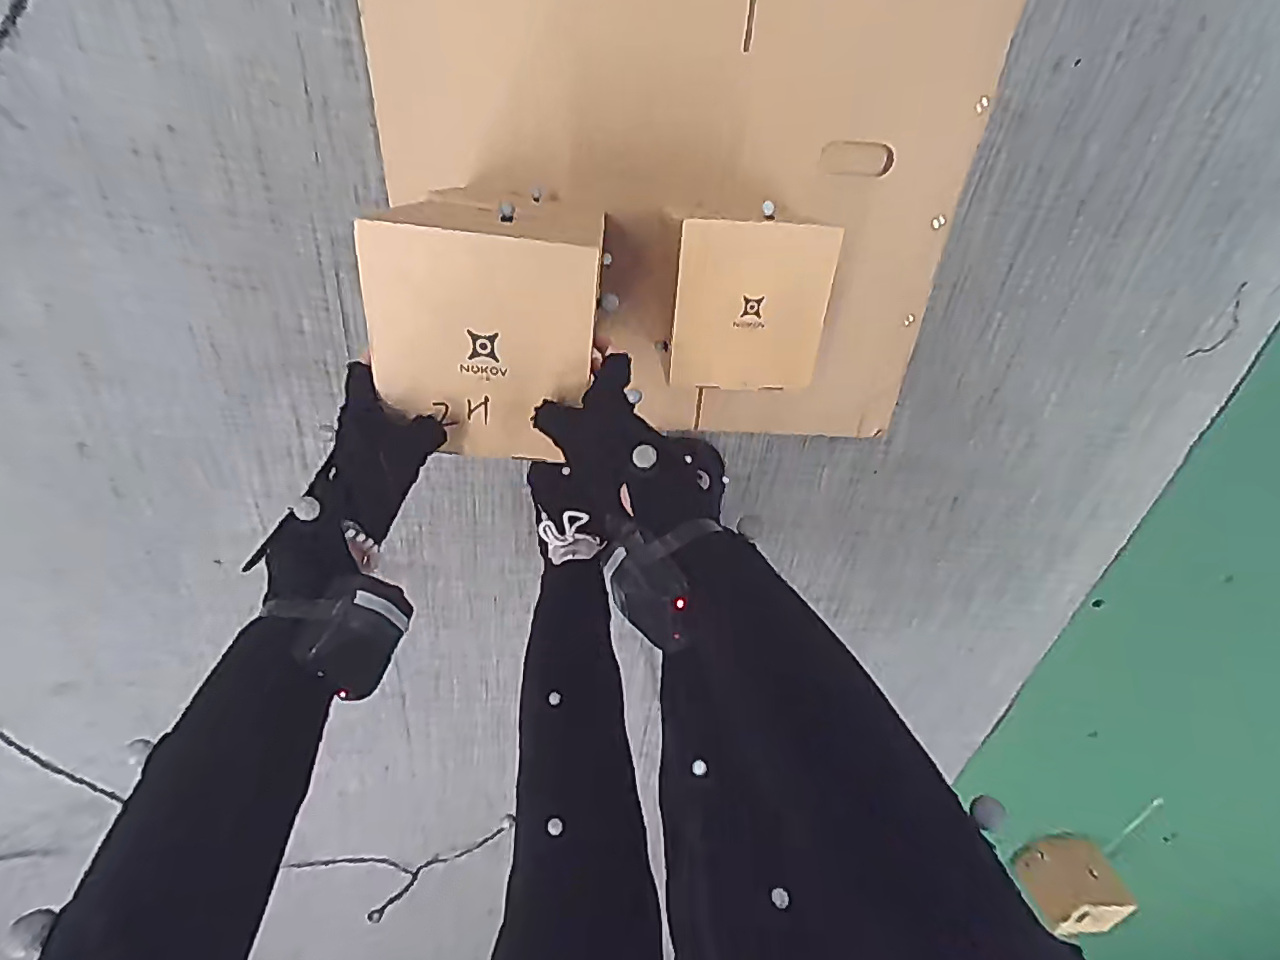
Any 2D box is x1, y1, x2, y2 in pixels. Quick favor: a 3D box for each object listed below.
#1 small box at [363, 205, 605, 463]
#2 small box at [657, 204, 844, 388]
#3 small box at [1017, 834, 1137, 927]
[{"bbox_3d":[-0.121,-0.136,0.478,0.168,0.176,0.179,5,120,-6],"label":"small box"},{"bbox_3d":[0.112,-0.221,0.638,0.168,0.176,0.179,0,122,-5],"label":"small box"},{"bbox_3d":[1.243,1.149,1.557,0.179,0.176,0.168,5,121,-8],"label":"small box"}]
